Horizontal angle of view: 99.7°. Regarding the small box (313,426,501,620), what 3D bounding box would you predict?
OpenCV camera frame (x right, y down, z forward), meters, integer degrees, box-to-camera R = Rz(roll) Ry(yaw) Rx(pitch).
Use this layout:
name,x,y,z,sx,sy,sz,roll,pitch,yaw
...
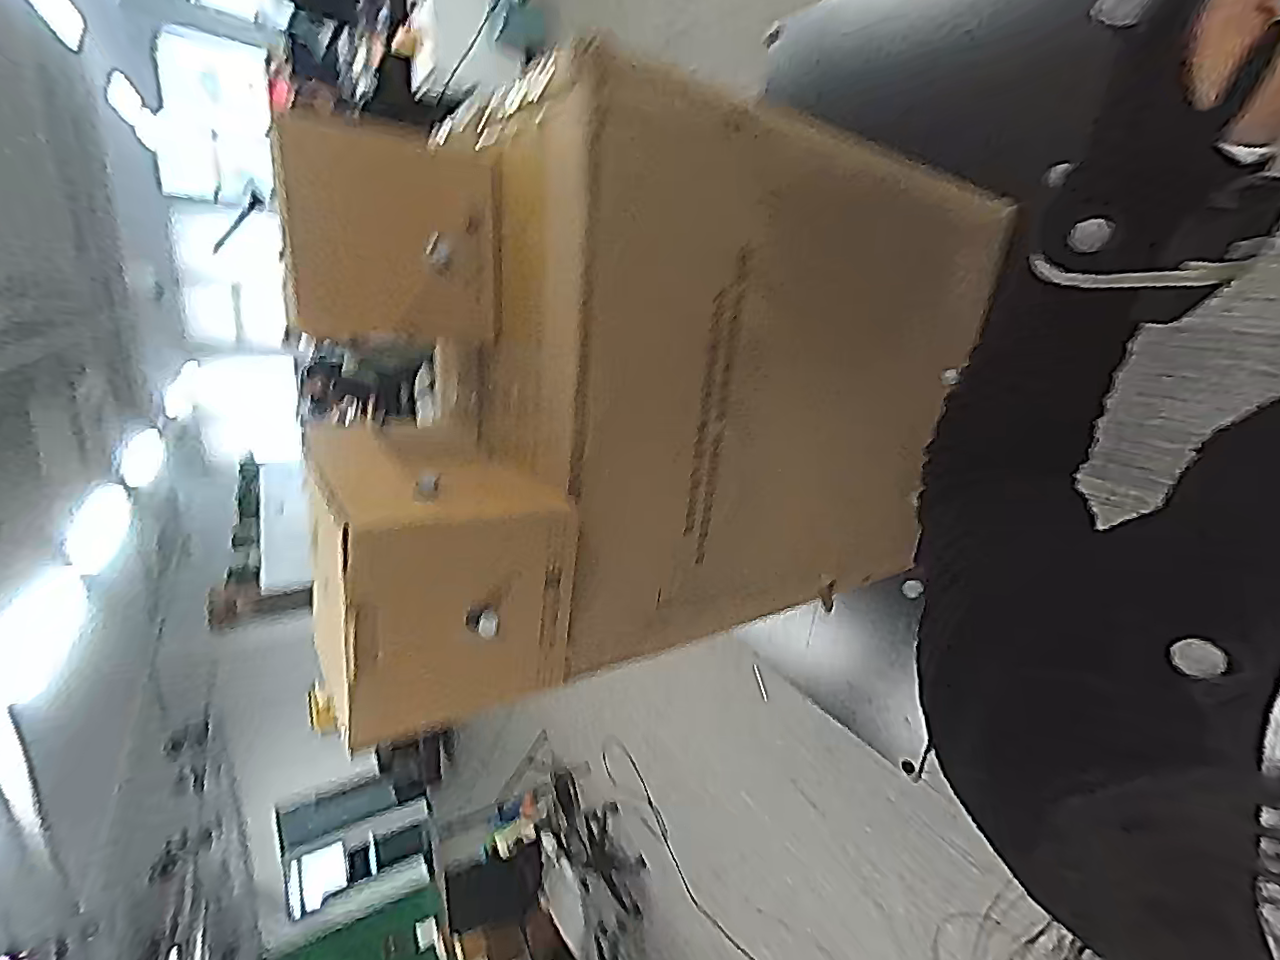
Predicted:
name,x,y,z,sx,sy,sz,roll,pitch,yaw
small box,-0.271,0.034,0.625,0.179,0.176,0.168,27,118,52

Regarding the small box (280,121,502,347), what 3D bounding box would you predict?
name,x,y,z,sx,sy,sz,roll,pitch,yaw
small box,-0.244,-0.222,0.534,0.179,0.176,0.168,27,119,53
